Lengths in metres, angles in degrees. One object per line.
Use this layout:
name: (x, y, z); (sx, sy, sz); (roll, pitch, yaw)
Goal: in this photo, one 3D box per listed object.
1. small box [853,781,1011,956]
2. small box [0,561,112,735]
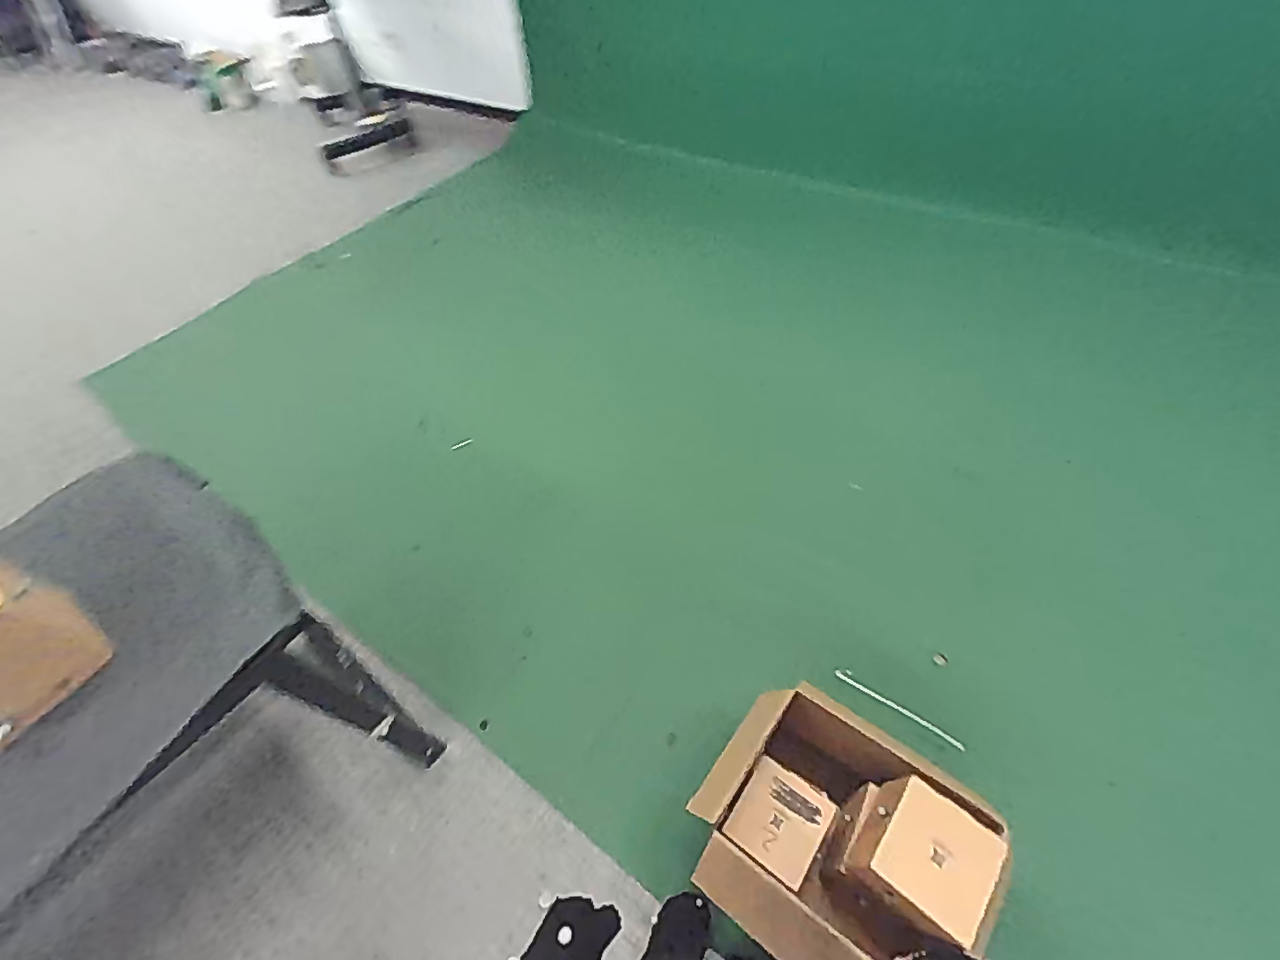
small box: (0.494, 0.667, 0.940); (0.168, 0.176, 0.179); (33, 62, 24)
small box: (-0.885, 0.222, 0.726); (0.179, 0.176, 0.168); (26, 59, 24)
